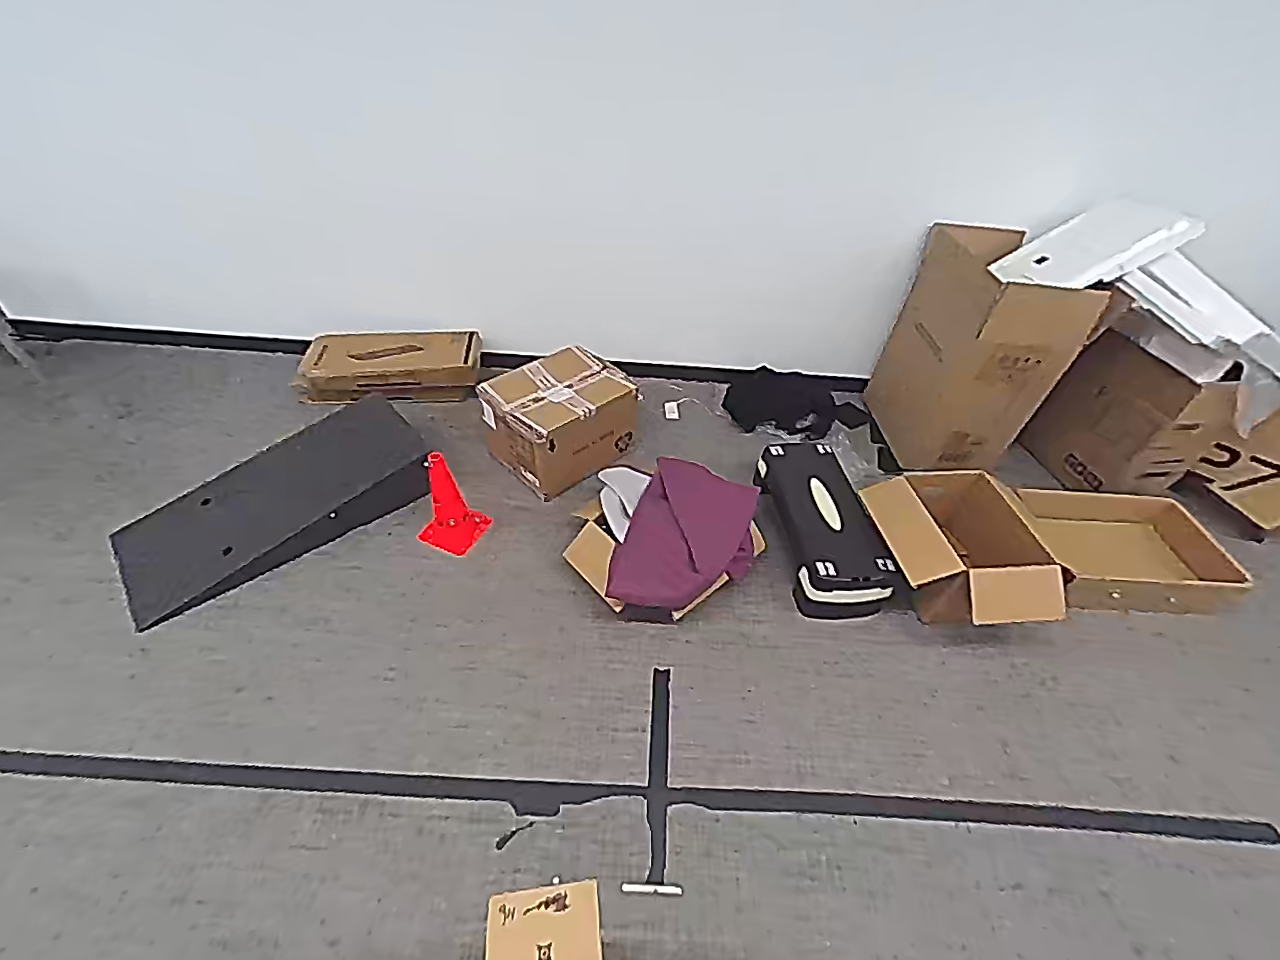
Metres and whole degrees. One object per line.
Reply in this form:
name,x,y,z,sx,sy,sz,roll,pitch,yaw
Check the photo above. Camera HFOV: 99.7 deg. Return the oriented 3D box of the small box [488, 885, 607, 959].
small box,-0.134,0.742,0.815,0.168,0.176,0.179,-4,44,-7
